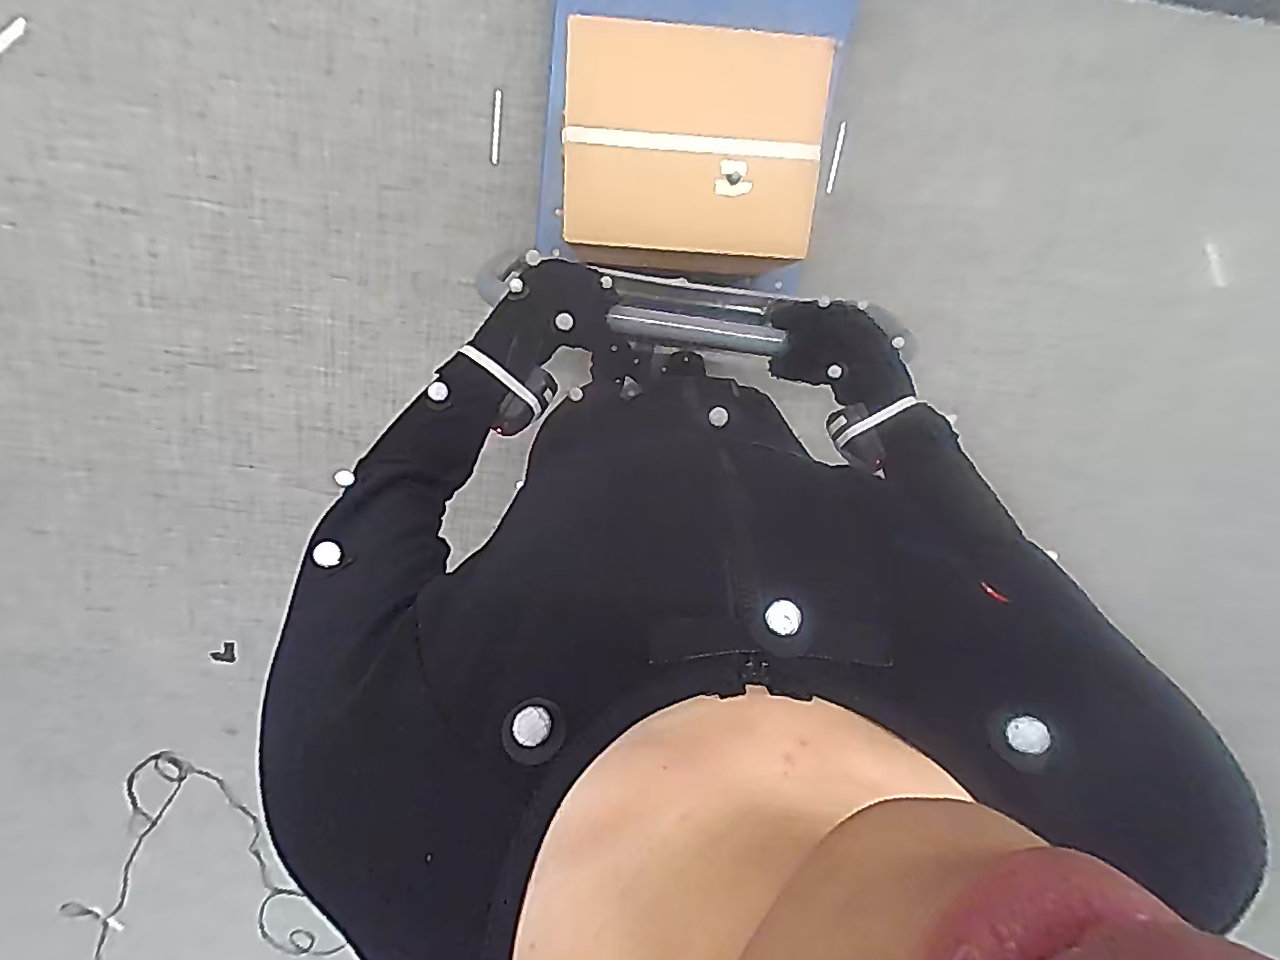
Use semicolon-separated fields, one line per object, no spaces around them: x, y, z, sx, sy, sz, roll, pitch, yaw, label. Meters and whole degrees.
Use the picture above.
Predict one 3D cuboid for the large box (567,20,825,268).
0.075;-0.580;1.006;0.408;0.320;0.320;2;107;-3;large box
